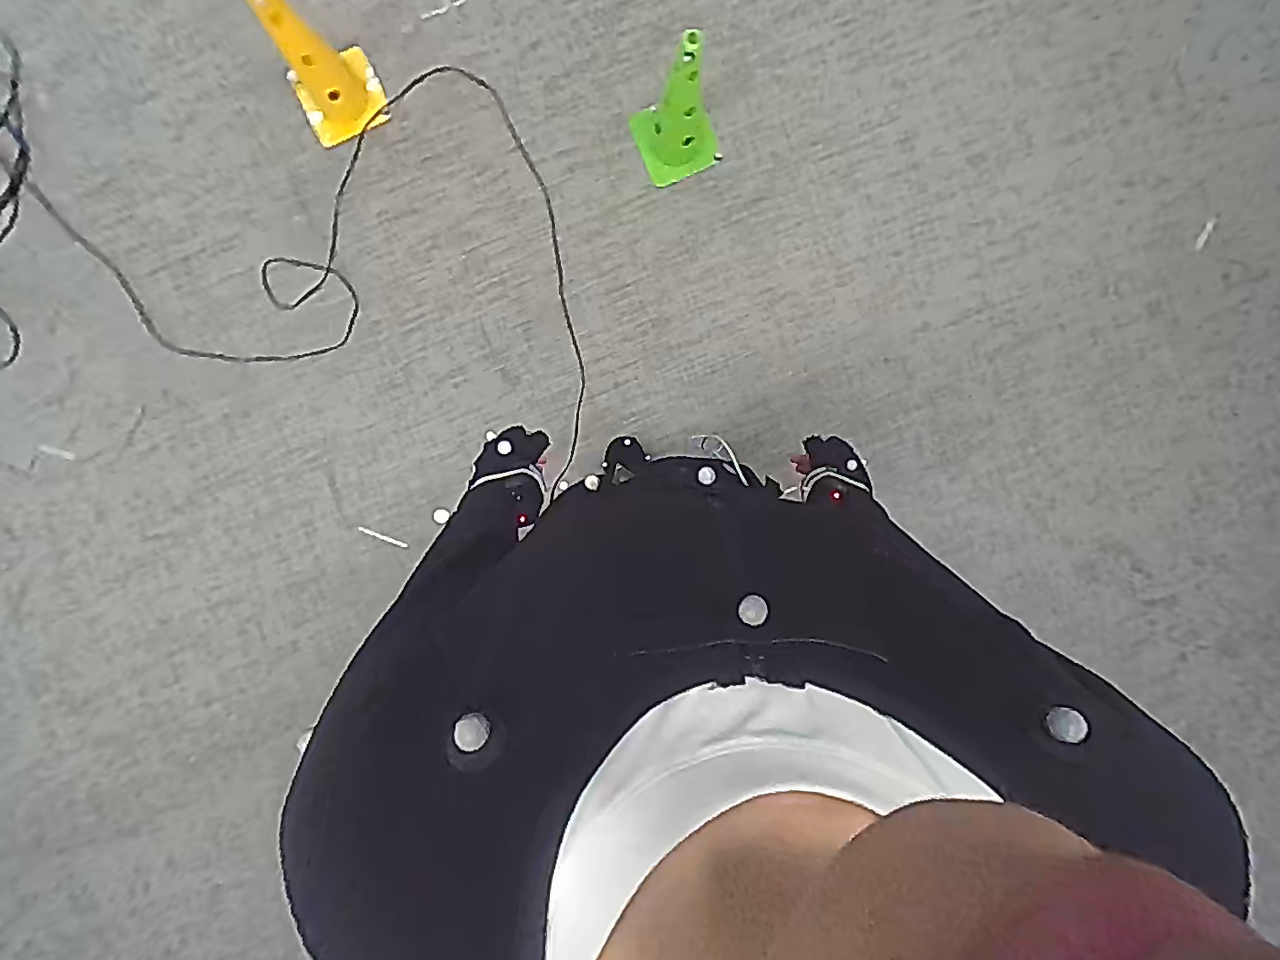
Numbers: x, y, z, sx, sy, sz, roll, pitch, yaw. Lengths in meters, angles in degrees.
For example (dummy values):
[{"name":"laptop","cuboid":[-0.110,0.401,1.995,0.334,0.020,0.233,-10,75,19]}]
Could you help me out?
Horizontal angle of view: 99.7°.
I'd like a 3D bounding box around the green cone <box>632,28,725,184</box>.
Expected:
[{"name":"green cone","cuboid":[0.102,-0.900,1.258,0.202,0.368,0.200,-24,92,1]}]
